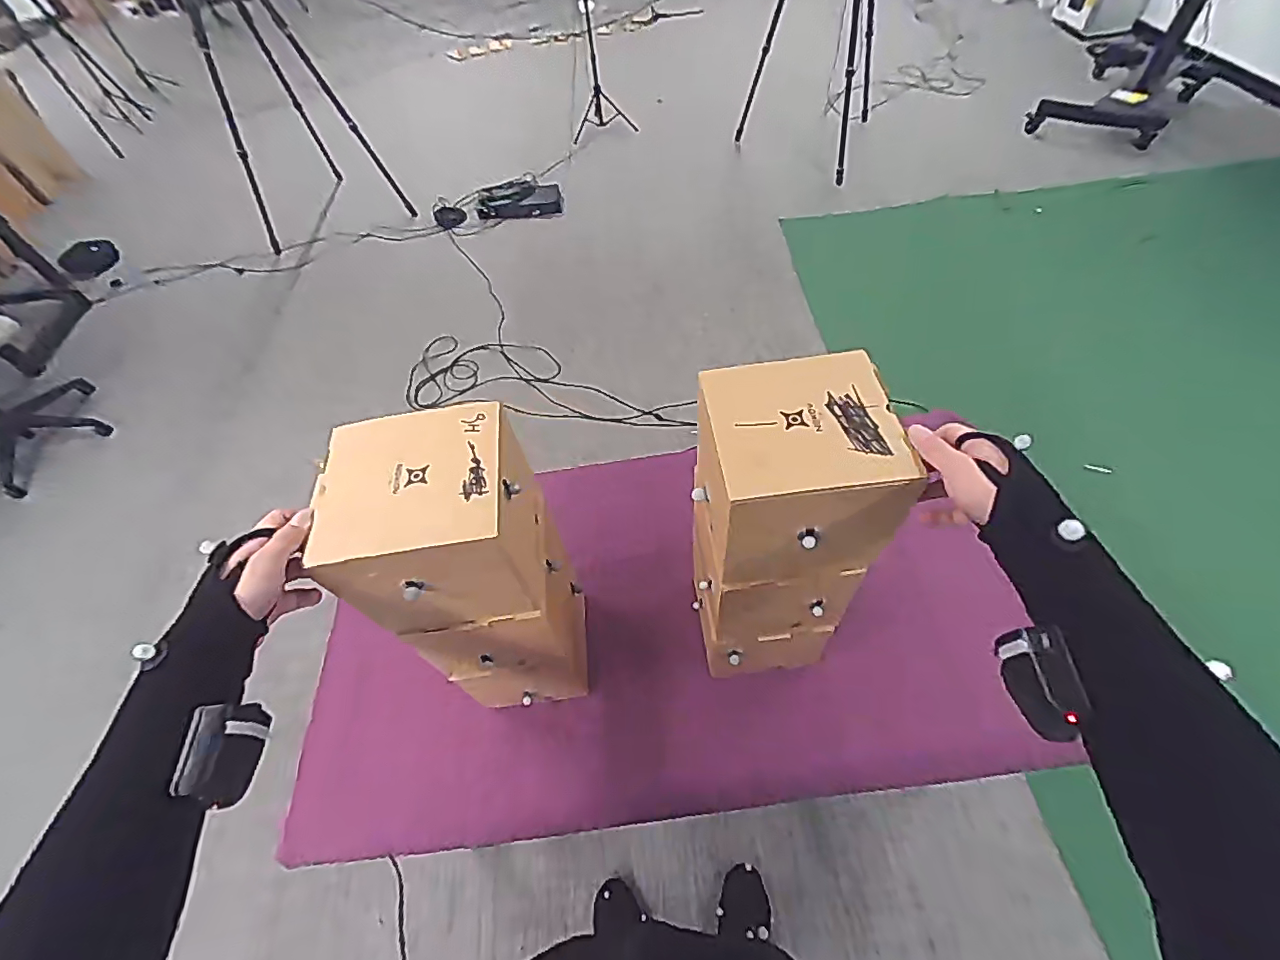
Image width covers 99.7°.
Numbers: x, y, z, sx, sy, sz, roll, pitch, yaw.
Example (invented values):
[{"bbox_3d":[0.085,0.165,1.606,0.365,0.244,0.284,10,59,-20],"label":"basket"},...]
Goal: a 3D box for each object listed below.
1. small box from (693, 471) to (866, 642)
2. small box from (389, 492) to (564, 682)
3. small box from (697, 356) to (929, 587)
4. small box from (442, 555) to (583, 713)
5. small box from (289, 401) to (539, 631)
[{"bbox_3d":[0.162,0.095,0.693,0.168,0.176,0.179,-7,53,-1],"label":"small box"},{"bbox_3d":[-0.195,0.140,0.696,0.168,0.176,0.179,-8,54,-1],"label":"small box"},{"bbox_3d":[0.157,-0.003,0.563,0.179,0.176,0.168,-7,53,1],"label":"small box"},{"bbox_3d":[-0.182,0.237,0.825,0.168,0.176,0.179,-7,54,1],"label":"small box"},{"bbox_3d":[-0.212,0.044,0.564,0.179,0.176,0.168,-9,54,0],"label":"small box"}]
